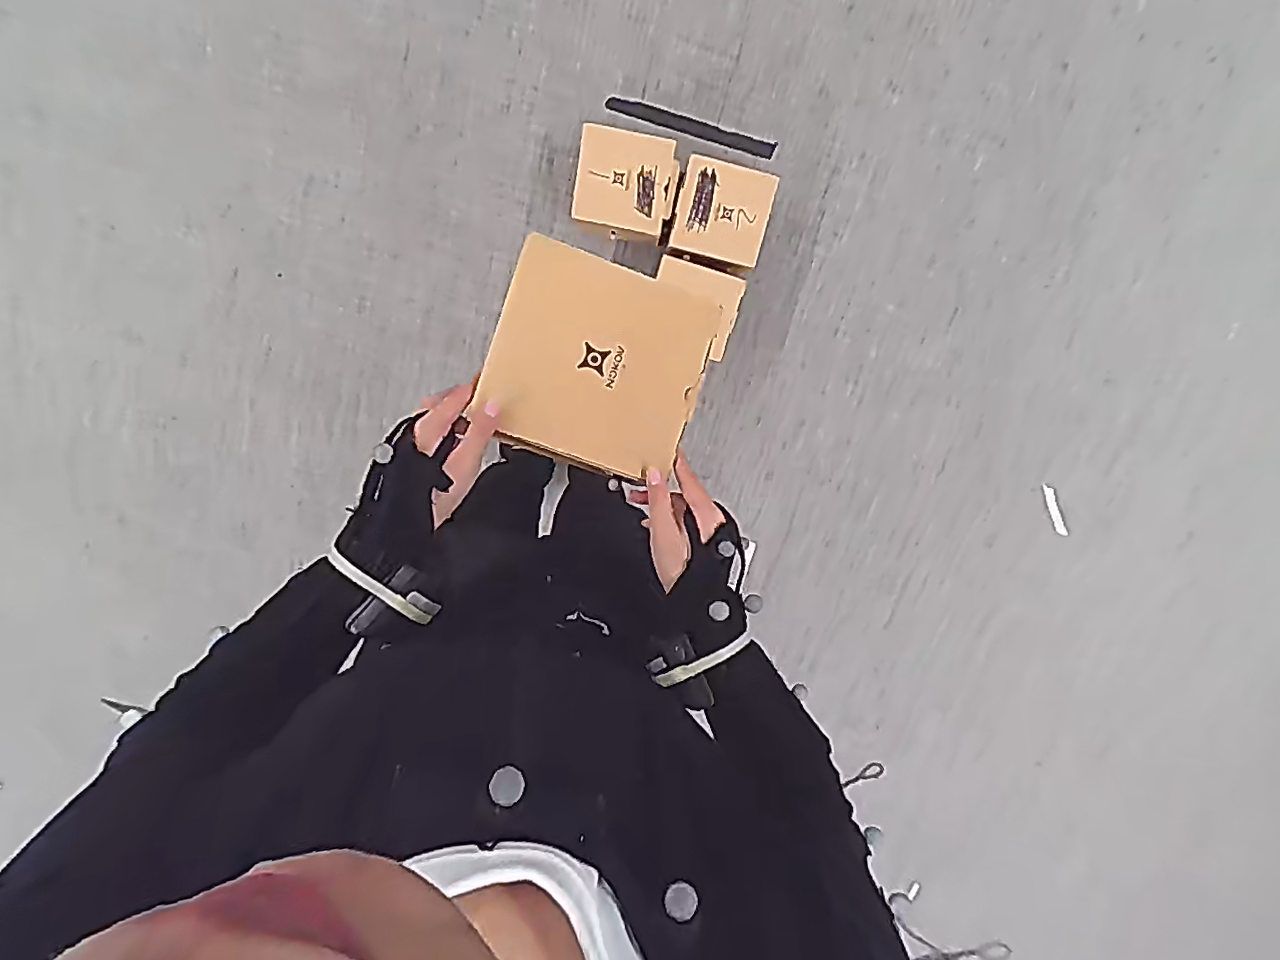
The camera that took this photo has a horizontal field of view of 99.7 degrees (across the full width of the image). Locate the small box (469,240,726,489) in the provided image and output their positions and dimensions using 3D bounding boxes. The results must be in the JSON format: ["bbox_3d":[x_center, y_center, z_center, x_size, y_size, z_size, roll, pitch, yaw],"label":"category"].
[{"bbox_3d":[-0.044,-0.094,0.528,0.179,0.176,0.168,19,88,-9],"label":"small box"}]
